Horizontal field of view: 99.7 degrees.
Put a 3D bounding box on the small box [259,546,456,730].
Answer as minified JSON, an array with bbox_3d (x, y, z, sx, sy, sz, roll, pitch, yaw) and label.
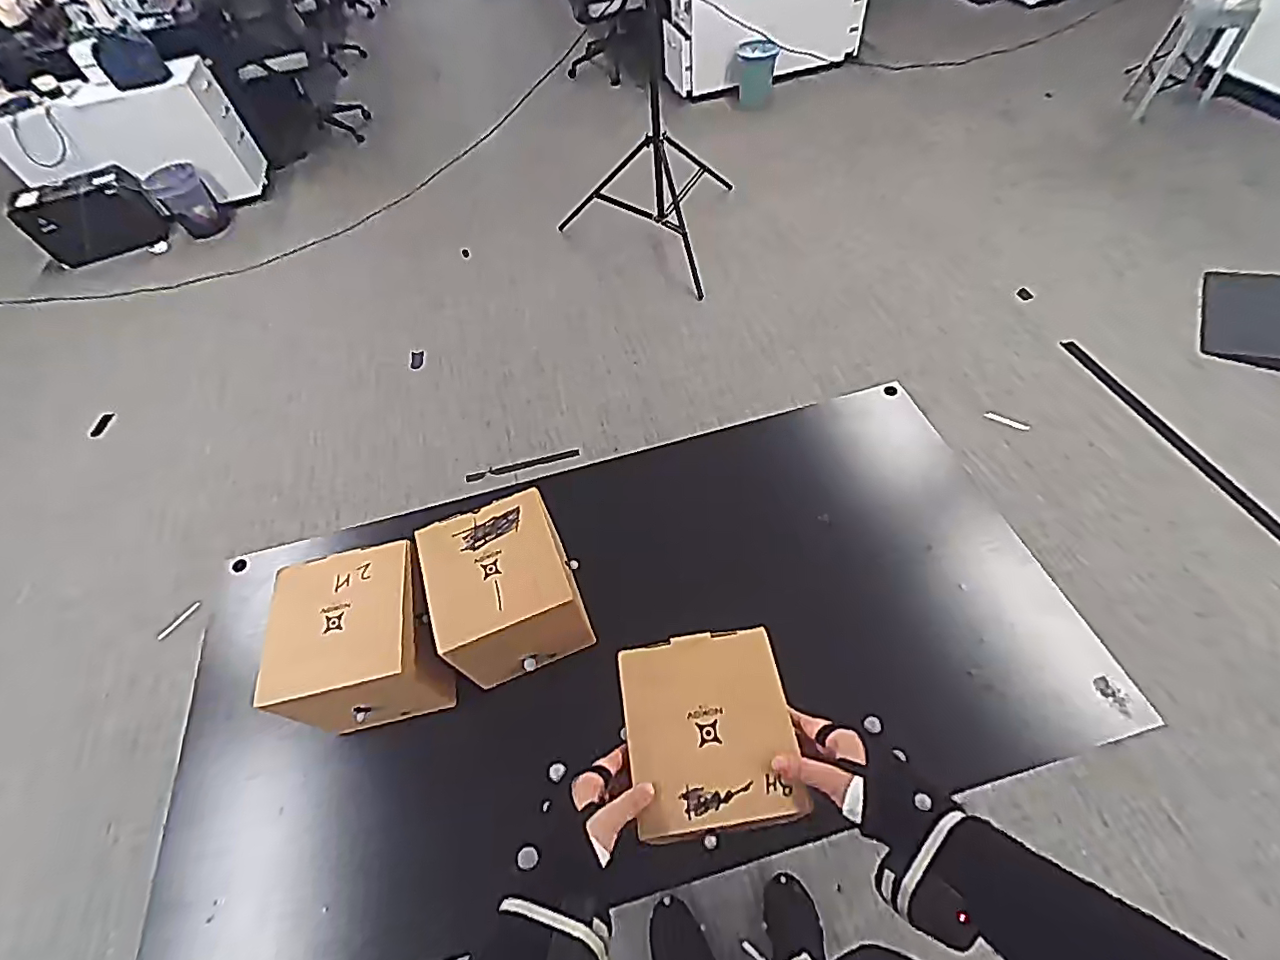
[{"bbox_3d":[-0.352,0.216,0.713,0.168,0.176,0.179,-13,54,-3],"label":"small box"}]

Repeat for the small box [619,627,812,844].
[{"bbox_3d":[0.075,0.289,0.606,0.168,0.176,0.179,-11,53,1],"label":"small box"}]
